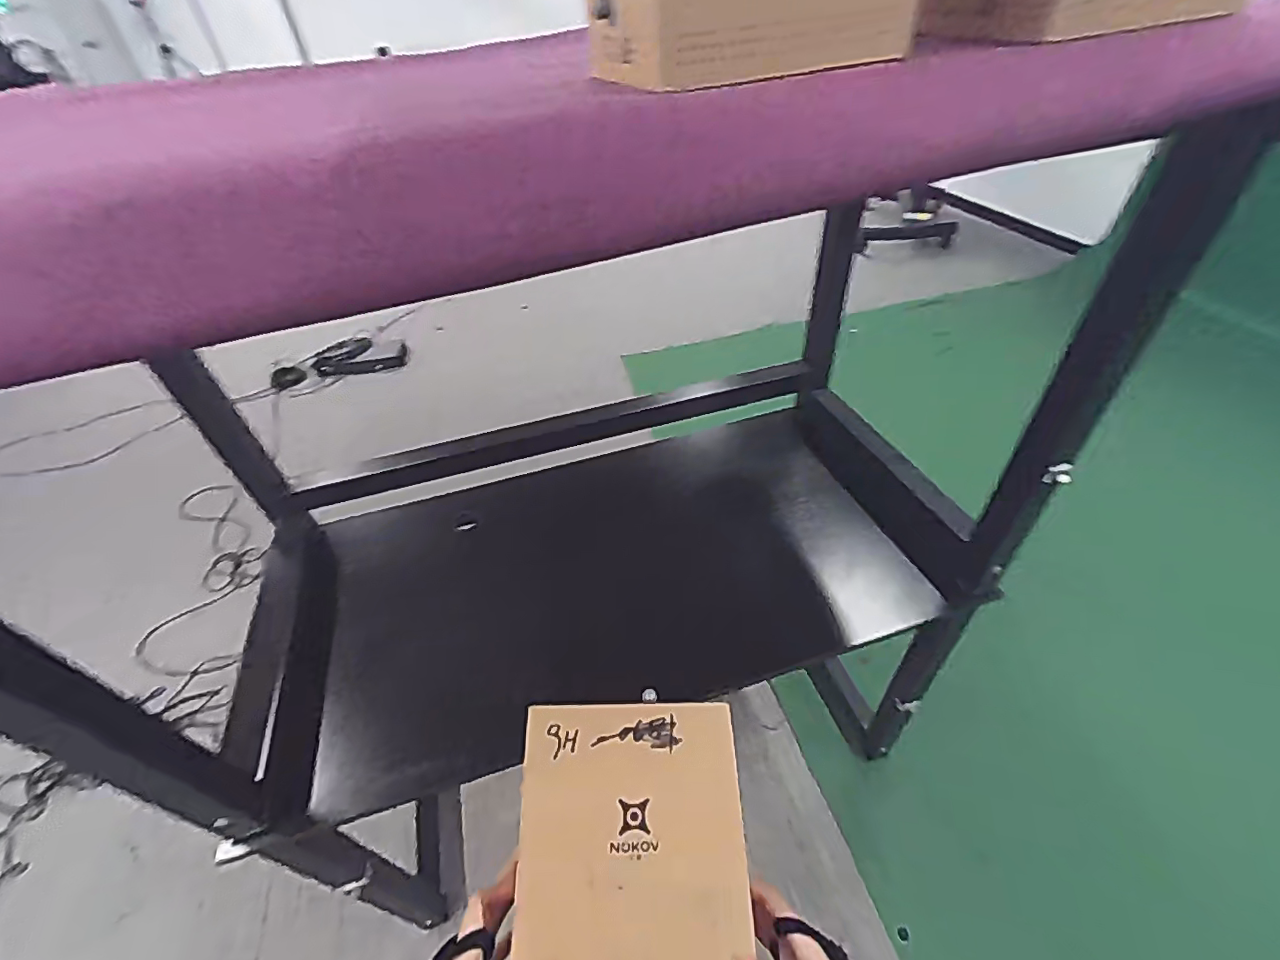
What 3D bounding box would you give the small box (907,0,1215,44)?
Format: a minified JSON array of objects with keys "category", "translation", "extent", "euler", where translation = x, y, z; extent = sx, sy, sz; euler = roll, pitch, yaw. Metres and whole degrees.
[{"category":"small box","translation":[0.329,-0.437,0.387],"extent":[0.179,0.176,0.168],"euler":[-15,44,-8]}]
